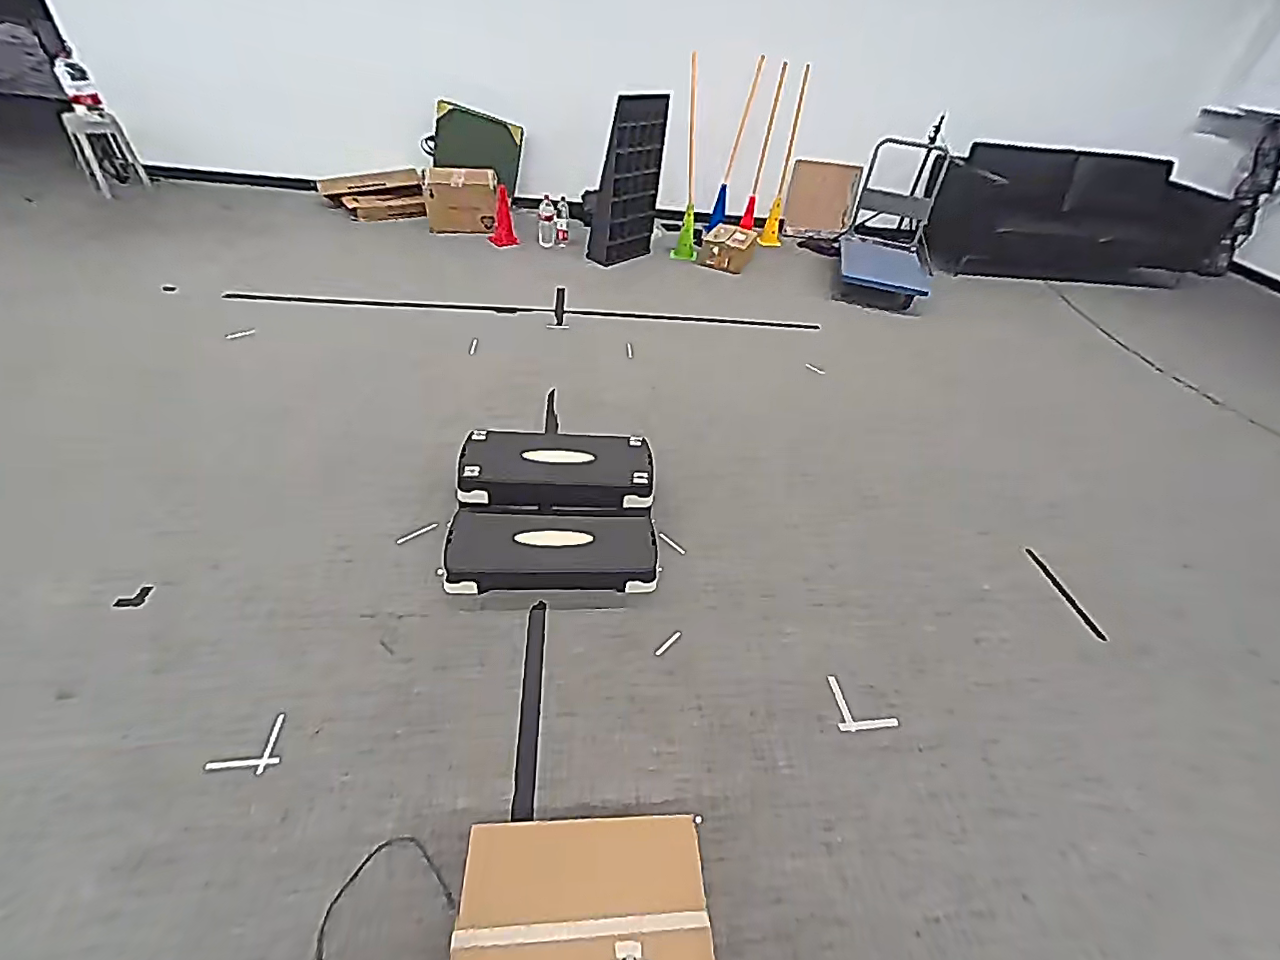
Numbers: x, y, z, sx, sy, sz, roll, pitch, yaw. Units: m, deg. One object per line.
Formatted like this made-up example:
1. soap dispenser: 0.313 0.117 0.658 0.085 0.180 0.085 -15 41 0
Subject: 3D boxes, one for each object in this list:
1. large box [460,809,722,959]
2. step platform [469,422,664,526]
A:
1. large box: -0.093 0.809 0.945 0.408 0.320 0.320 3 42 -8
2. step platform: -0.253 -0.027 1.940 0.684 0.204 0.286 6 42 -4
